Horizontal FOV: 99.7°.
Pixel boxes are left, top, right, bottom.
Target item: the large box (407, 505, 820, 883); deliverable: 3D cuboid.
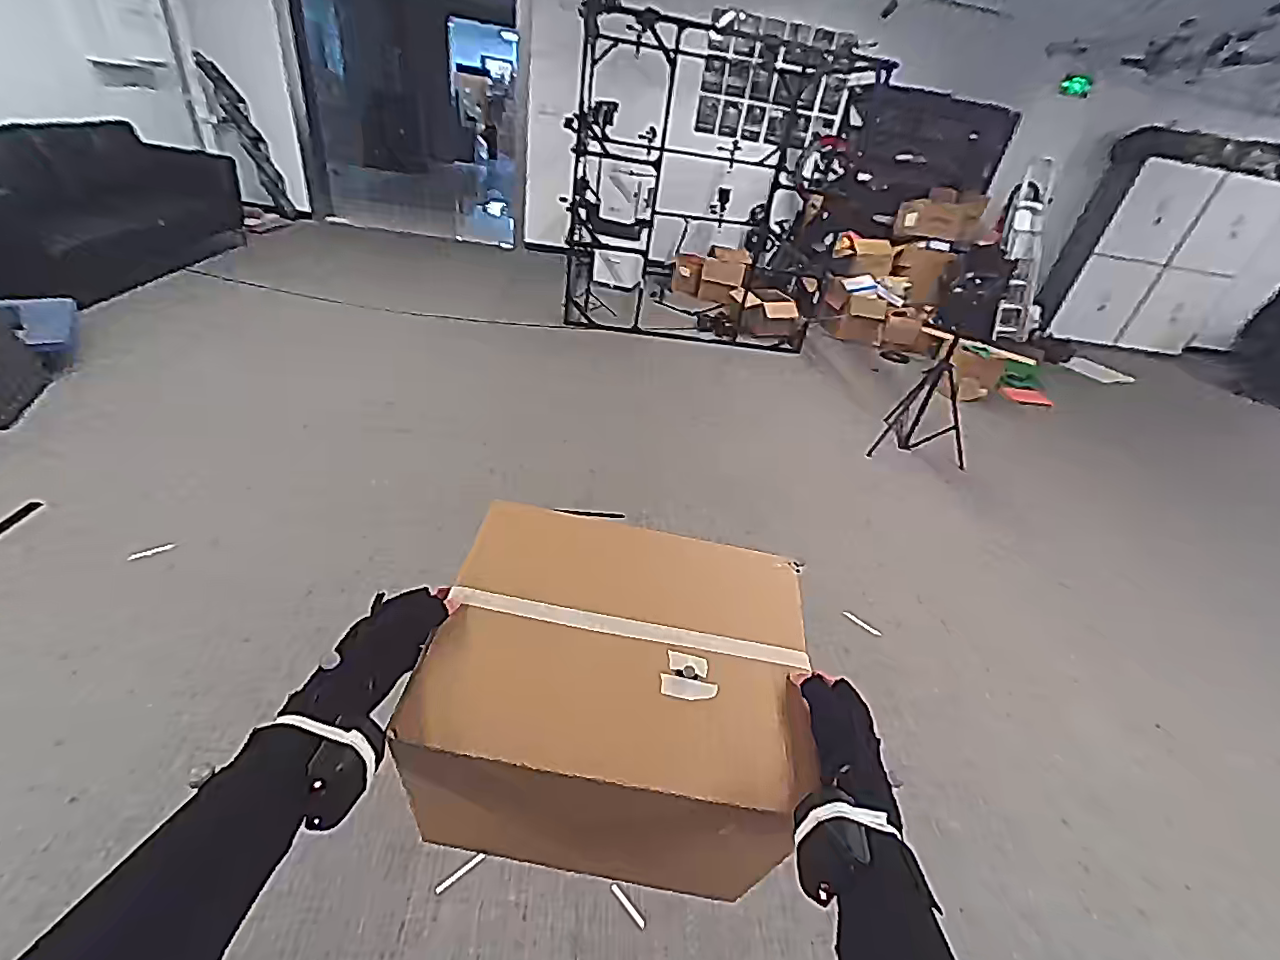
[{"bbox_3d":[-0.033,0.277,0.710,0.408,0.320,0.320,12,42,-1],"label":"large box"}]
